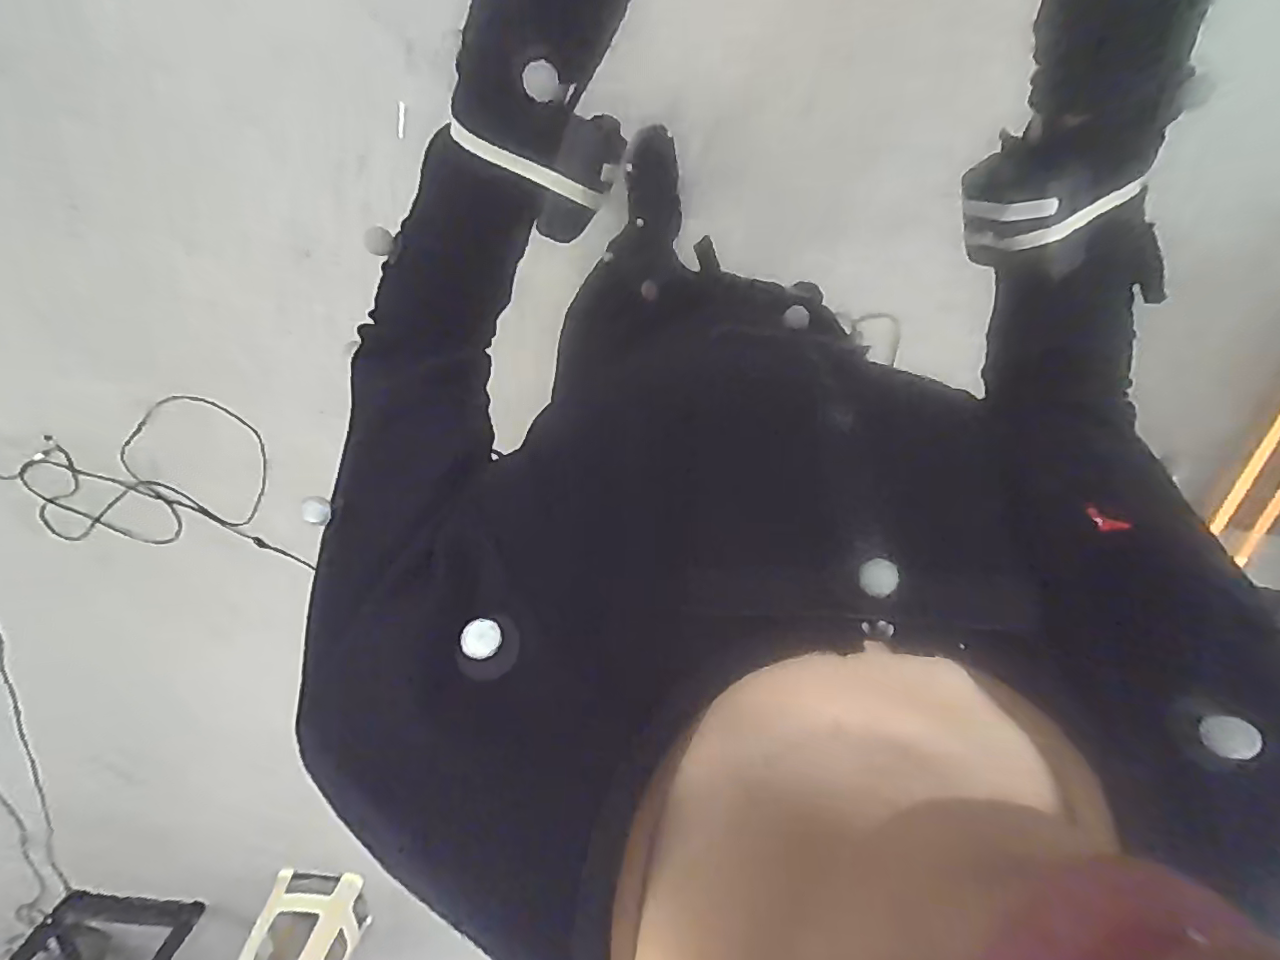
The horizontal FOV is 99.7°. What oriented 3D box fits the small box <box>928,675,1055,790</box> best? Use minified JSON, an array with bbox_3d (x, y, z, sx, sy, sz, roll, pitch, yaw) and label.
[{"bbox_3d":[0.833,0.601,1.304,0.168,0.176,0.179,12,112,-2],"label":"small box"}]
